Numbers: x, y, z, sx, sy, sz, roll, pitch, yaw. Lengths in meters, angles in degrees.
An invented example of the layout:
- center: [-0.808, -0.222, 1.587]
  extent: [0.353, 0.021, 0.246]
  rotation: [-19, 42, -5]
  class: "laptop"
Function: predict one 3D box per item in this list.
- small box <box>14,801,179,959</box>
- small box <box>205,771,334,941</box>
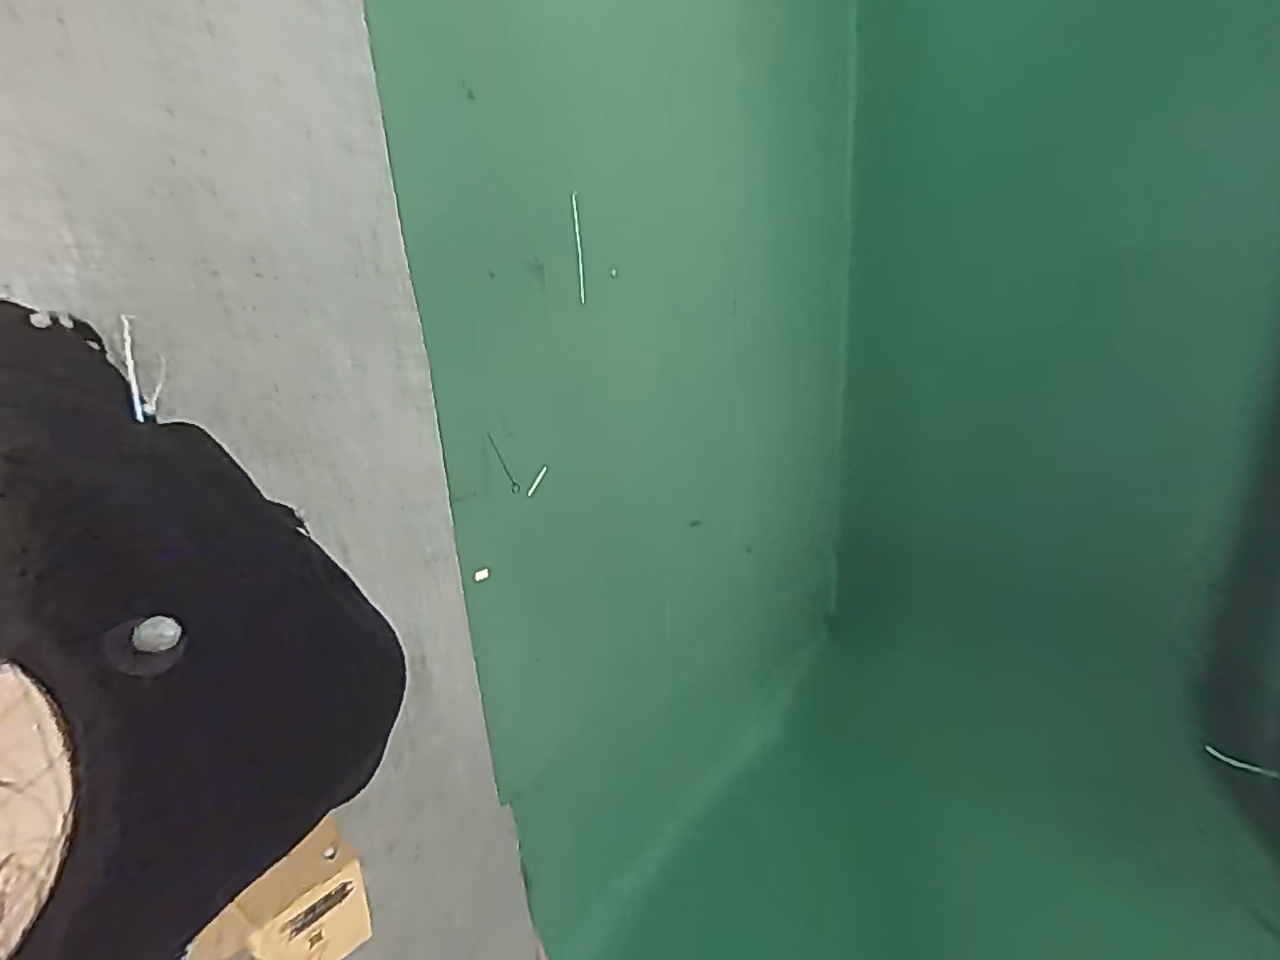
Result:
- center: [-0.875, 0.660, 0.873]
  extent: [0.168, 0.176, 0.179]
  rotation: [-10, 107, -46]
  class: "small box"
- center: [-0.725, 0.721, 1.061]
  extent: [0.168, 0.176, 0.179]
  rotation: [-12, 109, -48]
  class: "small box"
